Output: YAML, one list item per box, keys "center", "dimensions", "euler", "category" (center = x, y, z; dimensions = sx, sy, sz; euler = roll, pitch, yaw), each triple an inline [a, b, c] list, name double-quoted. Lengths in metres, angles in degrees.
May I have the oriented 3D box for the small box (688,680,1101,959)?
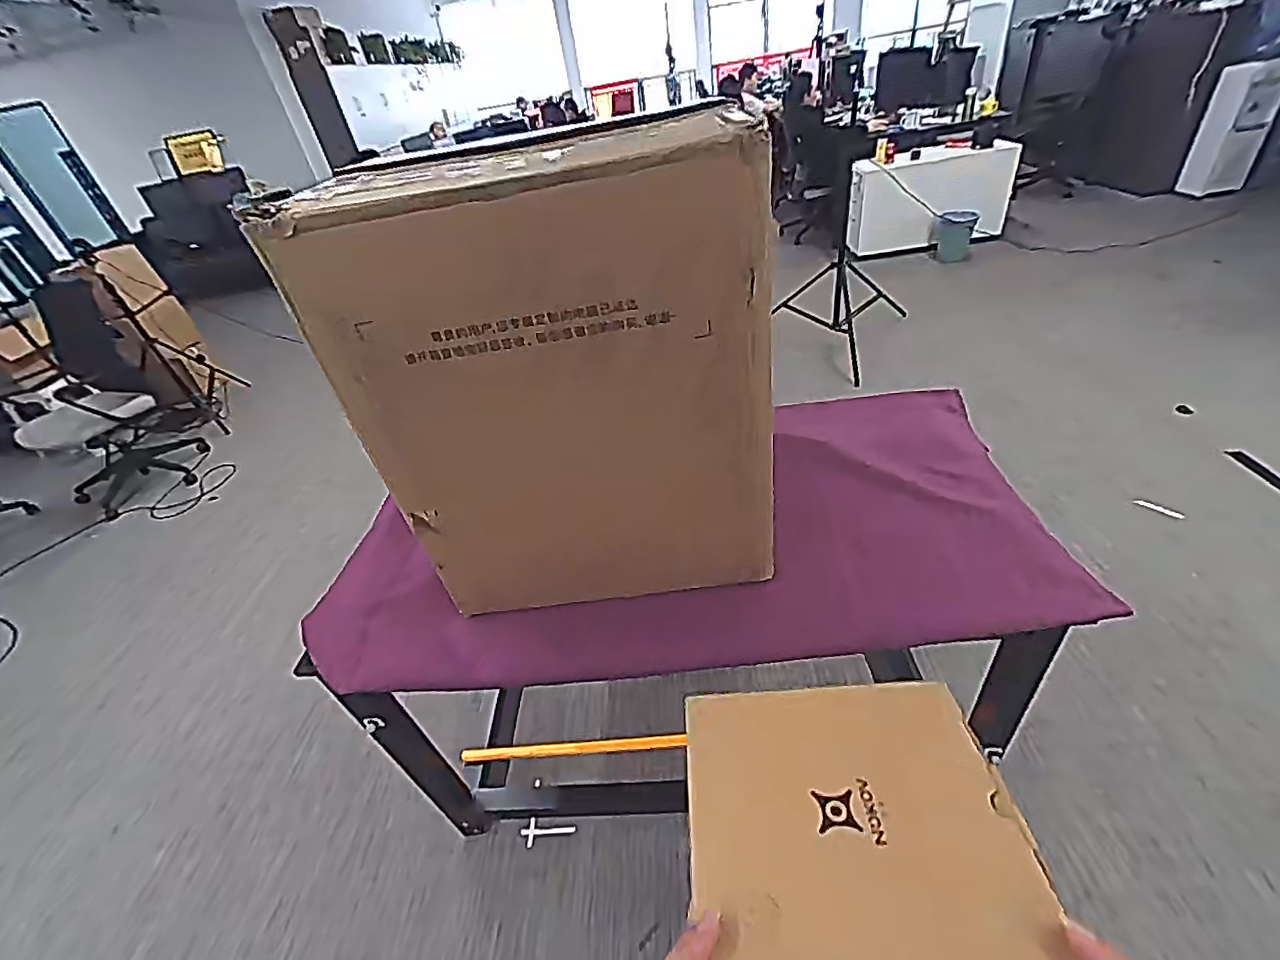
- center: [0.128, 0.253, 0.337]
  dimensions: [0.179, 0.176, 0.168]
  euler: [-7, 29, 7]
  category: "small box"
